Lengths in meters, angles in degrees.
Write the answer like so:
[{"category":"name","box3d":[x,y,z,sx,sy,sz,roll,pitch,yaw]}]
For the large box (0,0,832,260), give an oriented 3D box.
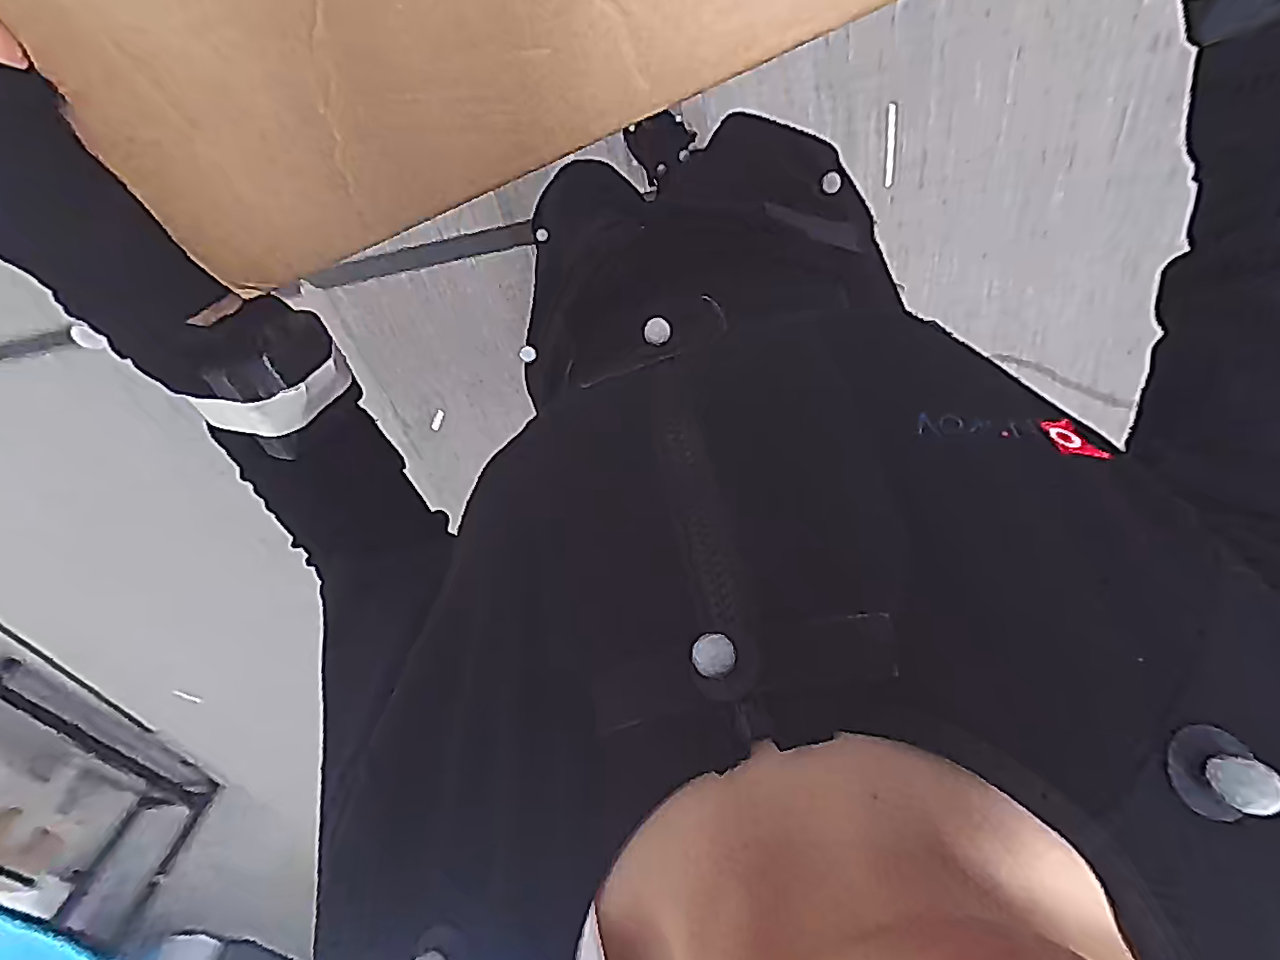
[{"category":"large box","box3d":[-0.072,-0.362,0.189,0.408,0.320,0.320,-16,143,12]}]
